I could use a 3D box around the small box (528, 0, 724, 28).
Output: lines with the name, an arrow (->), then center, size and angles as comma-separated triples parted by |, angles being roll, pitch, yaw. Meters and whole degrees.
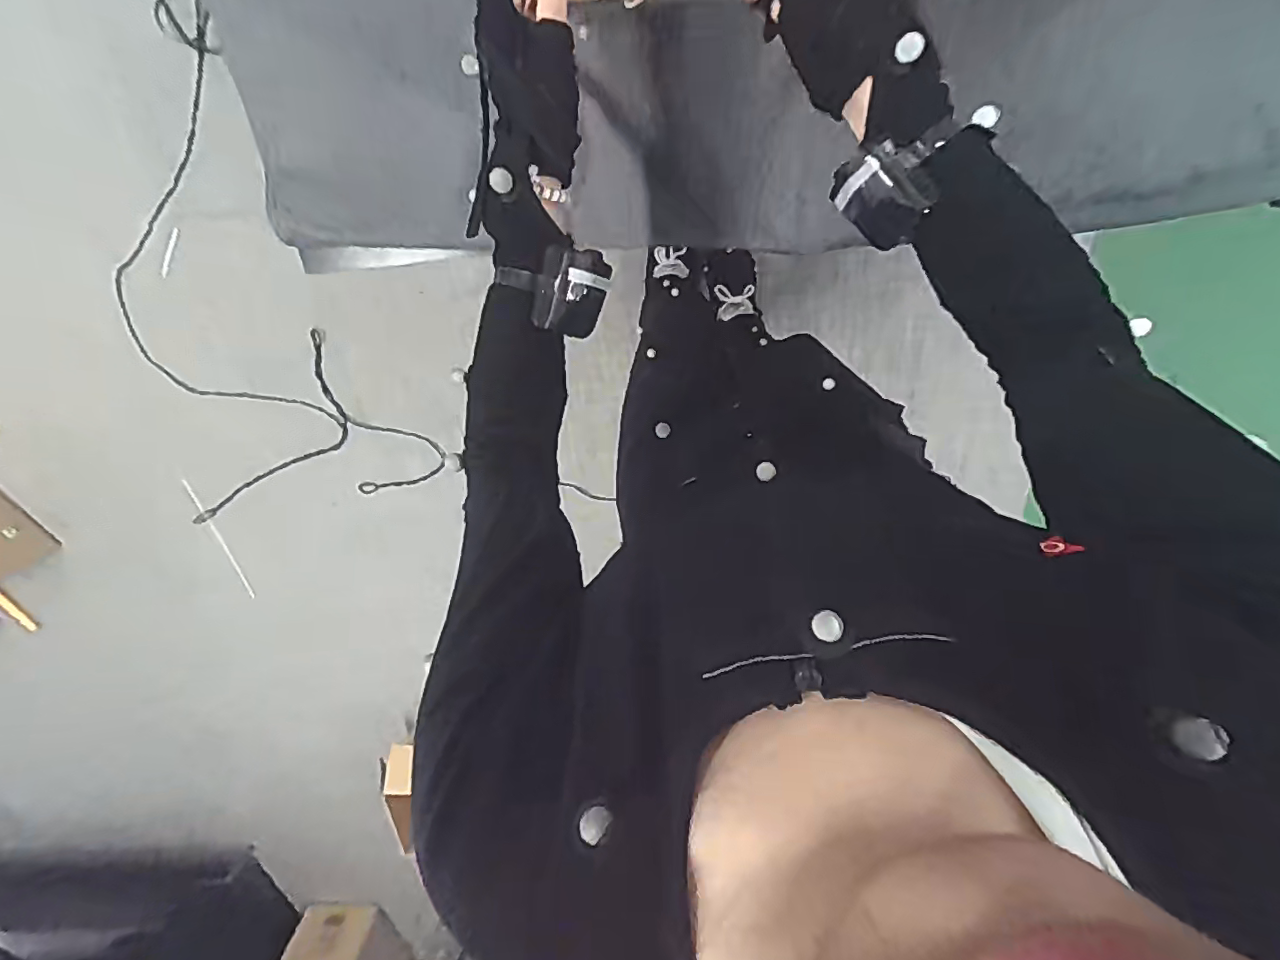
small box -> -0.009, -0.440, 0.376 | 0.168, 0.176, 0.179 | -9, 124, 1
